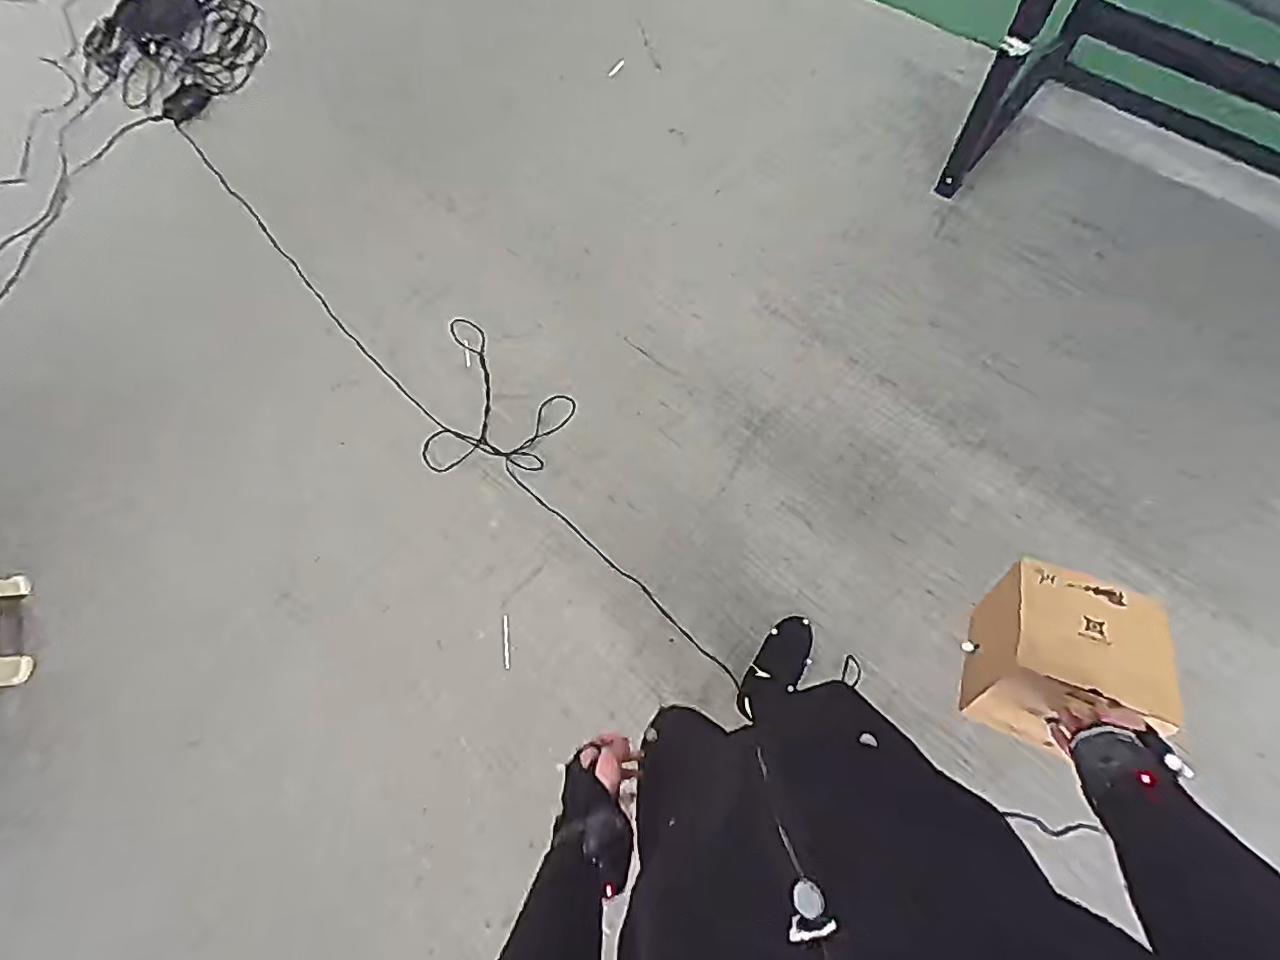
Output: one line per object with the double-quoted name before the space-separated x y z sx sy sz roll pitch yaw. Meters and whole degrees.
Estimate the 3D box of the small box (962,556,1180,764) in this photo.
"small box" 0.552 0.239 0.714 0.168 0.176 0.179 21 53 19
